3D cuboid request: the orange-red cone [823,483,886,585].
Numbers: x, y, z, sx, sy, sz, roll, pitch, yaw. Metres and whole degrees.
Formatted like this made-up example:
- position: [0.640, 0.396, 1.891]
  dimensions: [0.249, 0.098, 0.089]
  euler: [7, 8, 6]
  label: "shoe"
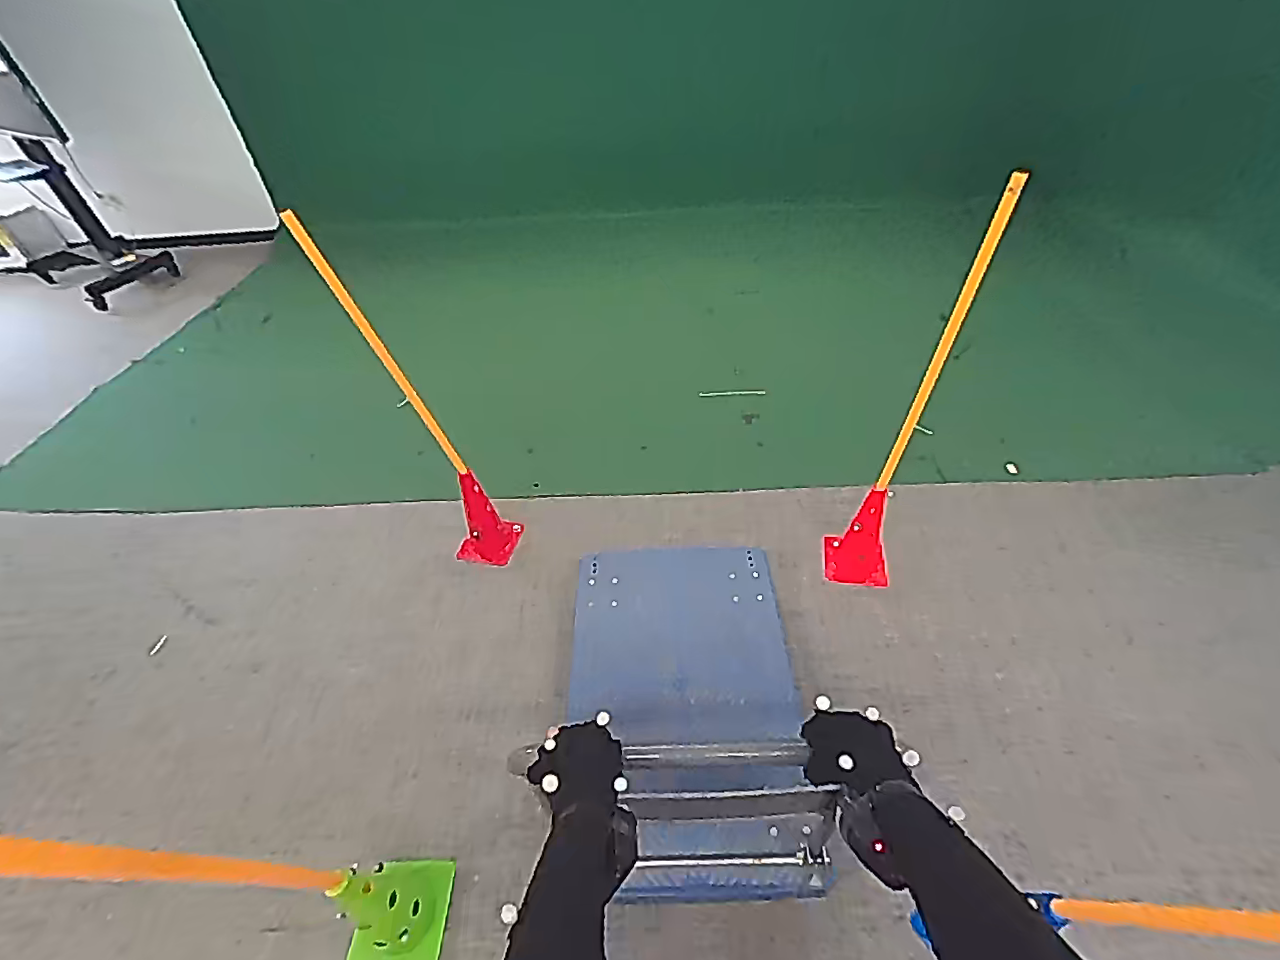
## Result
- position: [0.717, 0.149, 1.725]
  dimensions: [0.198, 0.360, 0.199]
  euler: [5, 45, 11]
  label: "orange-red cone"
